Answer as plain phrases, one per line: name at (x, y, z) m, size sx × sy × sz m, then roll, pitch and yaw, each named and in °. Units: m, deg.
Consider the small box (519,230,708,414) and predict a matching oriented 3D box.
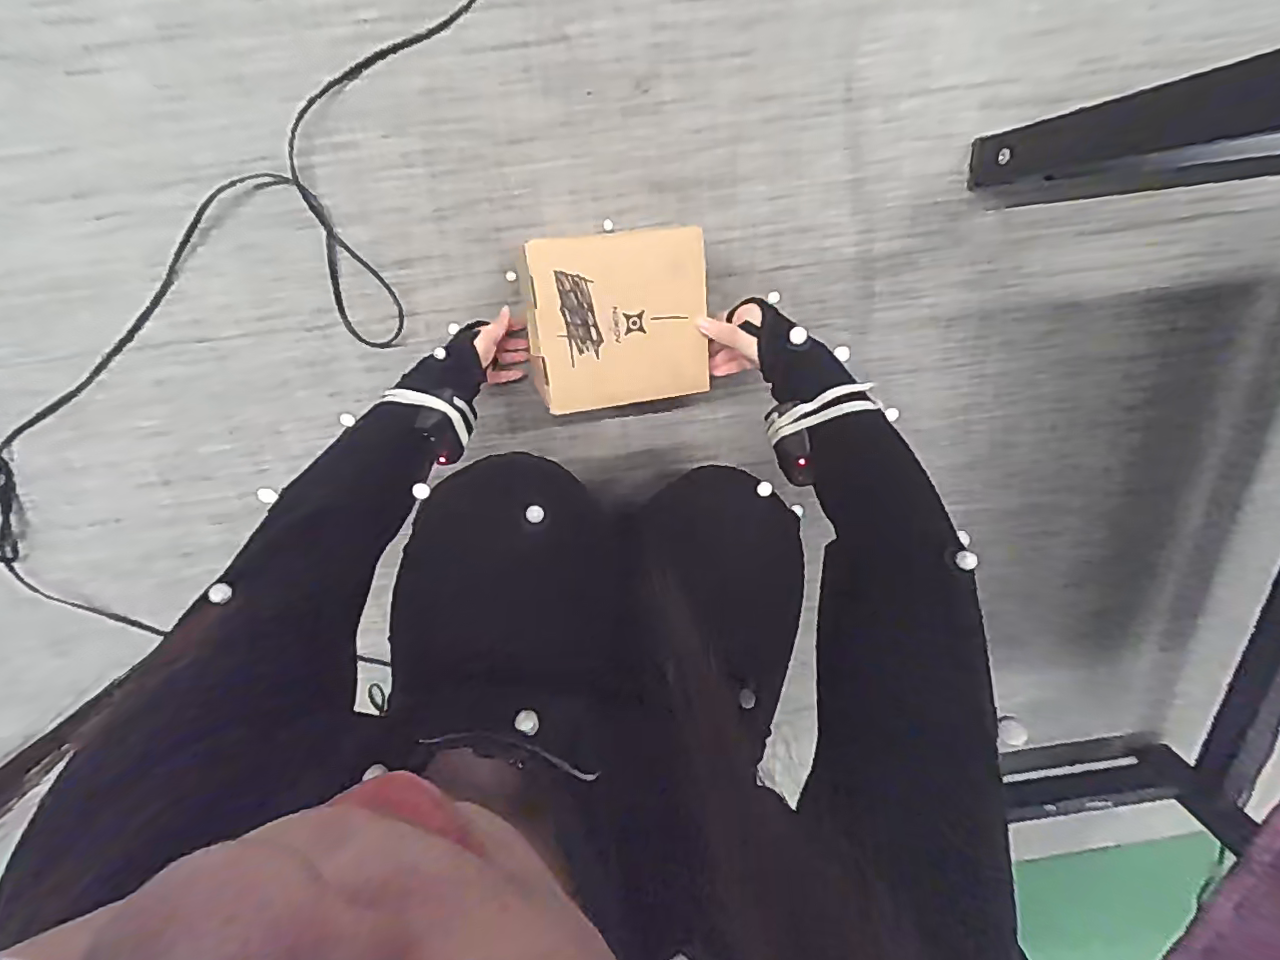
small box at (-0.037, -0.184, 0.613) m, size 0.179 × 0.176 × 0.168 m, roll -11°, pitch 114°, yaw -15°
